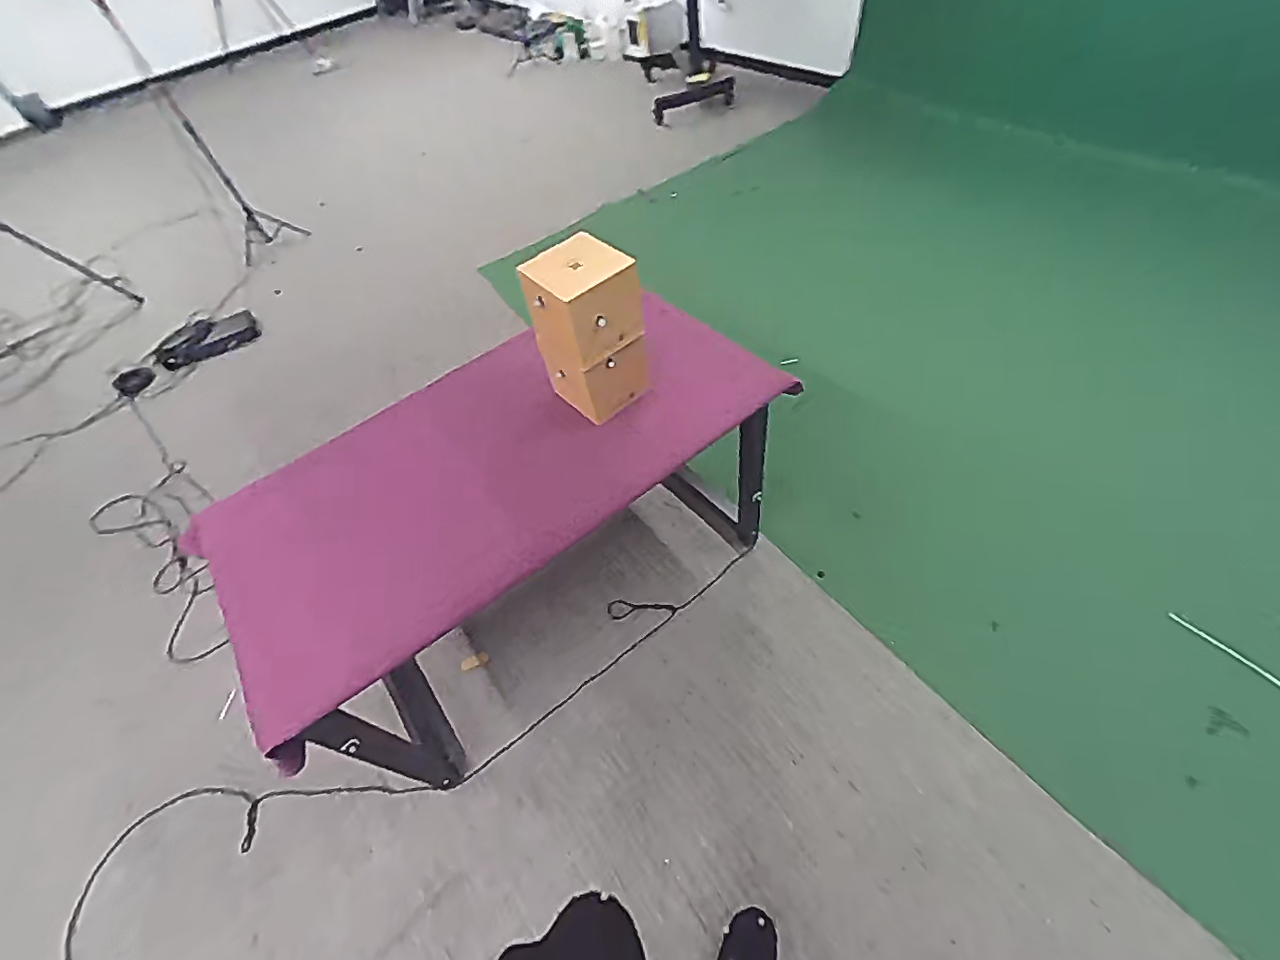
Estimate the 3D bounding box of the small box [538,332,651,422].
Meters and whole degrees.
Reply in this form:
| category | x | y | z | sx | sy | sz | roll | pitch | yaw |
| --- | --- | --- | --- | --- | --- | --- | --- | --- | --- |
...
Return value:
| category | x | y | z | sx | sy | sz | roll | pitch | yaw |
| --- | --- | --- | --- | --- | --- | --- | --- | --- | --- |
| small box | -0.095 | -0.261 | 1.204 | 0.168 | 0.176 | 0.179 | -38 | 56 | -18 |

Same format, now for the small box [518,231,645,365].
| category | x | y | z | sx | sy | sz | roll | pitch | yaw |
| --- | --- | --- | --- | --- | --- | --- | --- | --- | --- |
| small box | -0.107 | -0.354 | 1.070 | 0.168 | 0.176 | 0.179 | -37 | 56 | -18 |
